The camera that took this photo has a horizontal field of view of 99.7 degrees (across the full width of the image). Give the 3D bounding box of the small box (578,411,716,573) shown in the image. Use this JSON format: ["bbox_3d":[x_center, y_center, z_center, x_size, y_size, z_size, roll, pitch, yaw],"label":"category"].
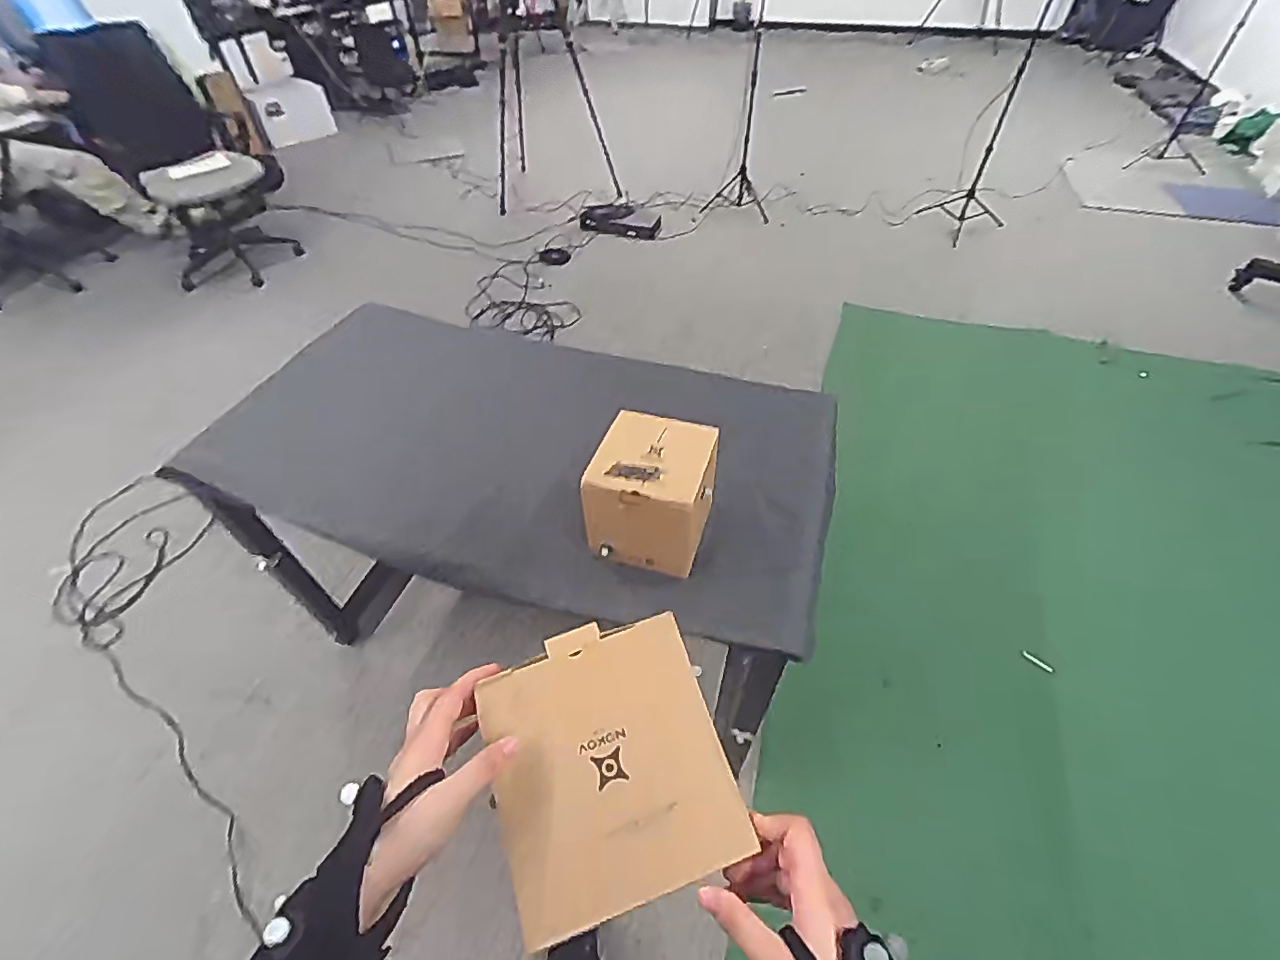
[{"bbox_3d":[0.017,0.021,0.852,0.168,0.176,0.179,12,46,13],"label":"small box"}]
